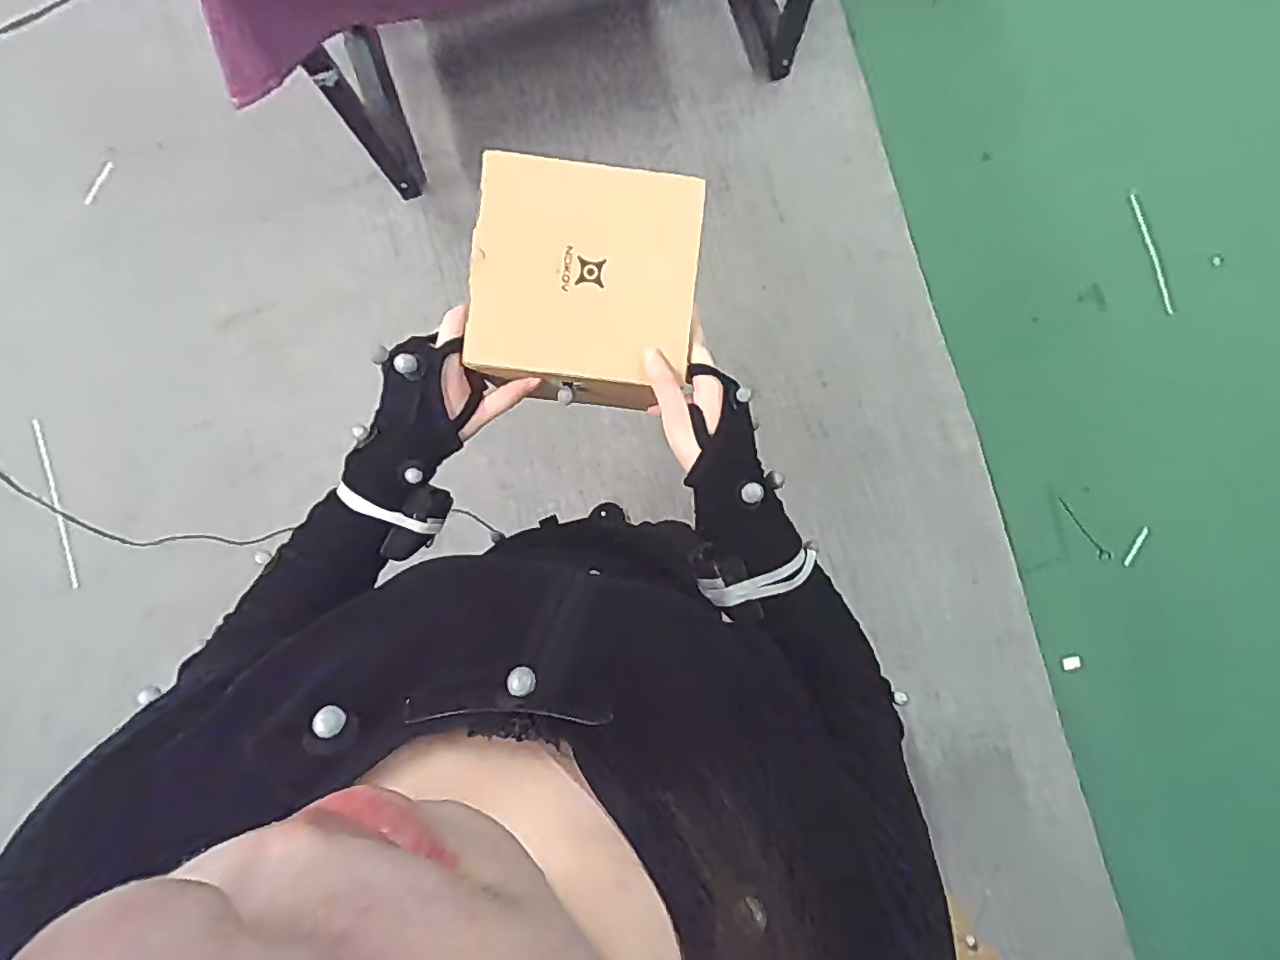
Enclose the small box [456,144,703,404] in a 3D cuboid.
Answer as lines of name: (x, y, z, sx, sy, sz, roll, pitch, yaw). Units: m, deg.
small box: (-0.049, -0.167, 0.495, 0.179, 0.176, 0.168, 6, 90, -2)
